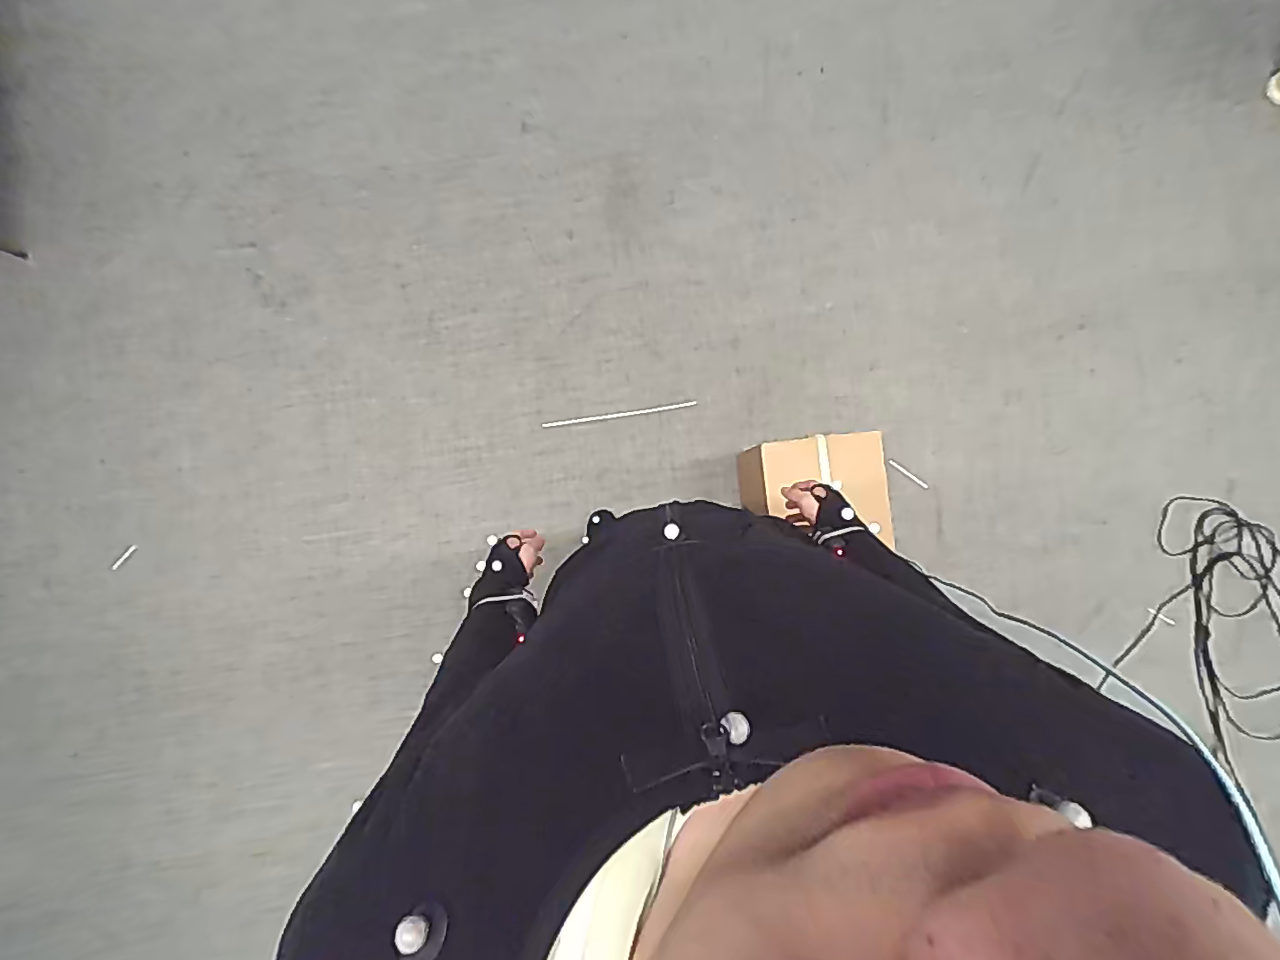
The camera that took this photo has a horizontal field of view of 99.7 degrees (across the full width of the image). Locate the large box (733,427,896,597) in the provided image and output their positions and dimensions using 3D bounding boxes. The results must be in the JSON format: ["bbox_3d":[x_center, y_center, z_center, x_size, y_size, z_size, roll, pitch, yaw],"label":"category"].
[{"bbox_3d":[0.466,0.084,1.516,0.320,0.320,0.408,-7,89,-2],"label":"large box"}]
